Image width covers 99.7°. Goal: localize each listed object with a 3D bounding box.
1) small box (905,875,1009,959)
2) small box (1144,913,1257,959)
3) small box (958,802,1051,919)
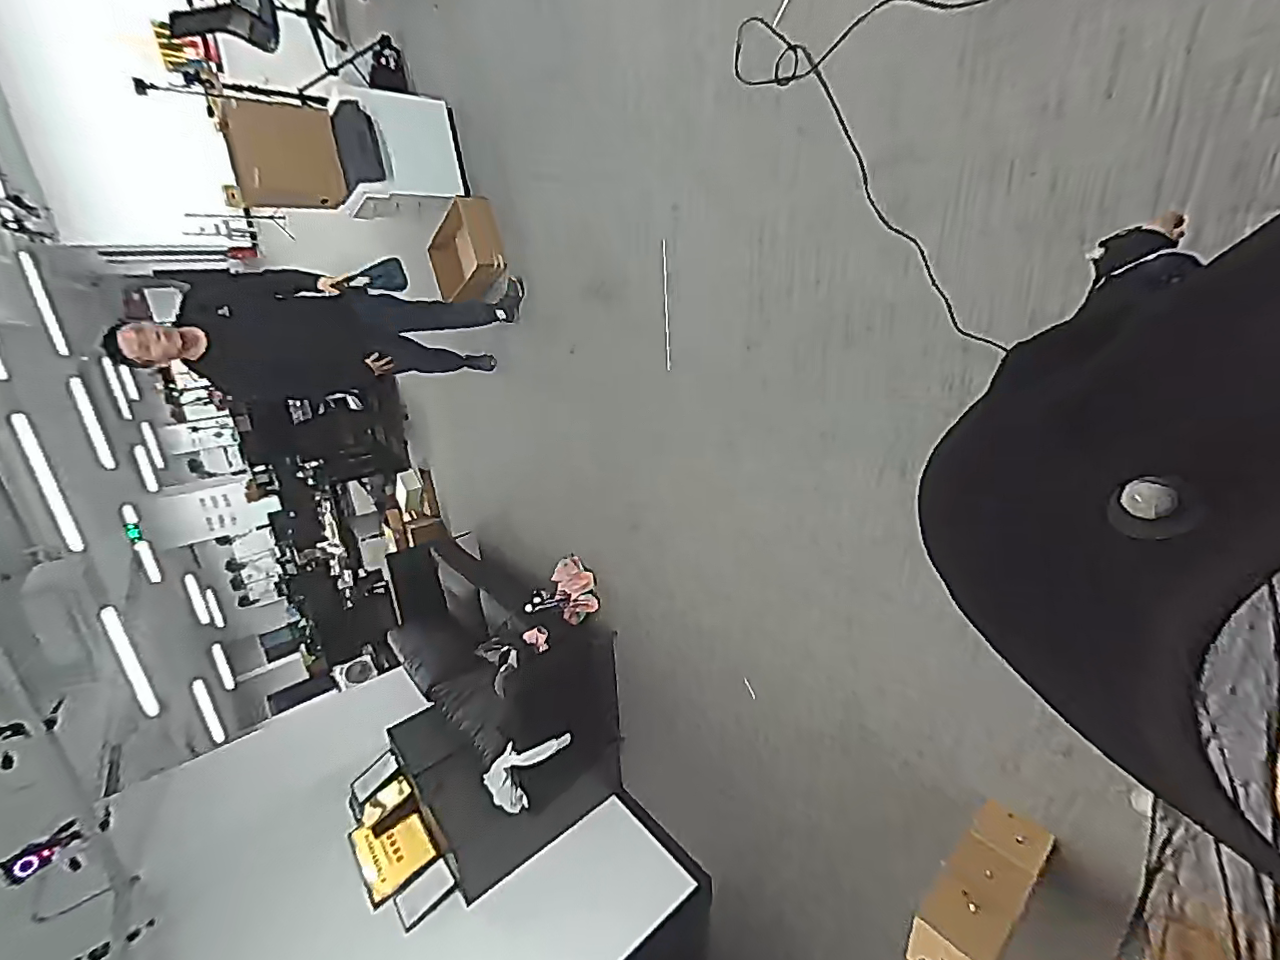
[{"bbox_3d":[0.791,1.153,1.348,0.168,0.176,0.179,20,119,46],"label":"small box"},{"bbox_3d":[1.296,1.168,1.258,0.179,0.176,0.168,12,114,48],"label":"small box"},{"bbox_3d":[1.043,1.074,1.544,0.168,0.176,0.179,21,120,46],"label":"small box"}]
